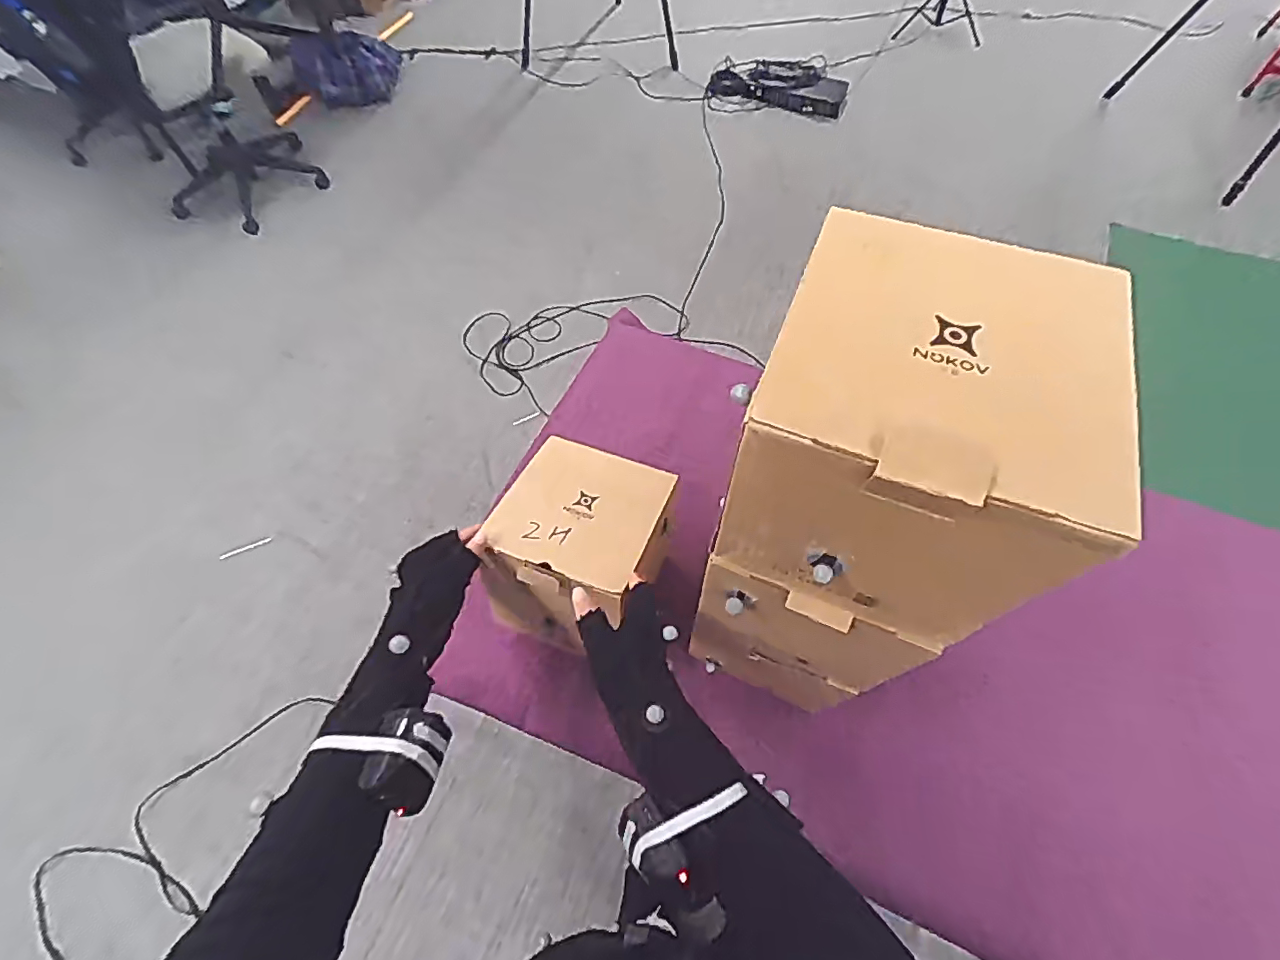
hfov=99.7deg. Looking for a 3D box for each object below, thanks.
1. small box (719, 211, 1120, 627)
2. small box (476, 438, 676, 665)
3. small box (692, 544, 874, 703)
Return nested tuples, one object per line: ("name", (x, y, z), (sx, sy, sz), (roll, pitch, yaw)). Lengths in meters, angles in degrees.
("small box", (0.157, -0.031, 0.349), (0.168, 0.176, 0.179), (19, 63, 12))
("small box", (-0.069, 0.084, 0.643), (0.168, 0.176, 0.179), (17, 47, 12))
("small box", (0.167, 0.137, 0.630), (0.168, 0.176, 0.179), (22, 63, 14))
